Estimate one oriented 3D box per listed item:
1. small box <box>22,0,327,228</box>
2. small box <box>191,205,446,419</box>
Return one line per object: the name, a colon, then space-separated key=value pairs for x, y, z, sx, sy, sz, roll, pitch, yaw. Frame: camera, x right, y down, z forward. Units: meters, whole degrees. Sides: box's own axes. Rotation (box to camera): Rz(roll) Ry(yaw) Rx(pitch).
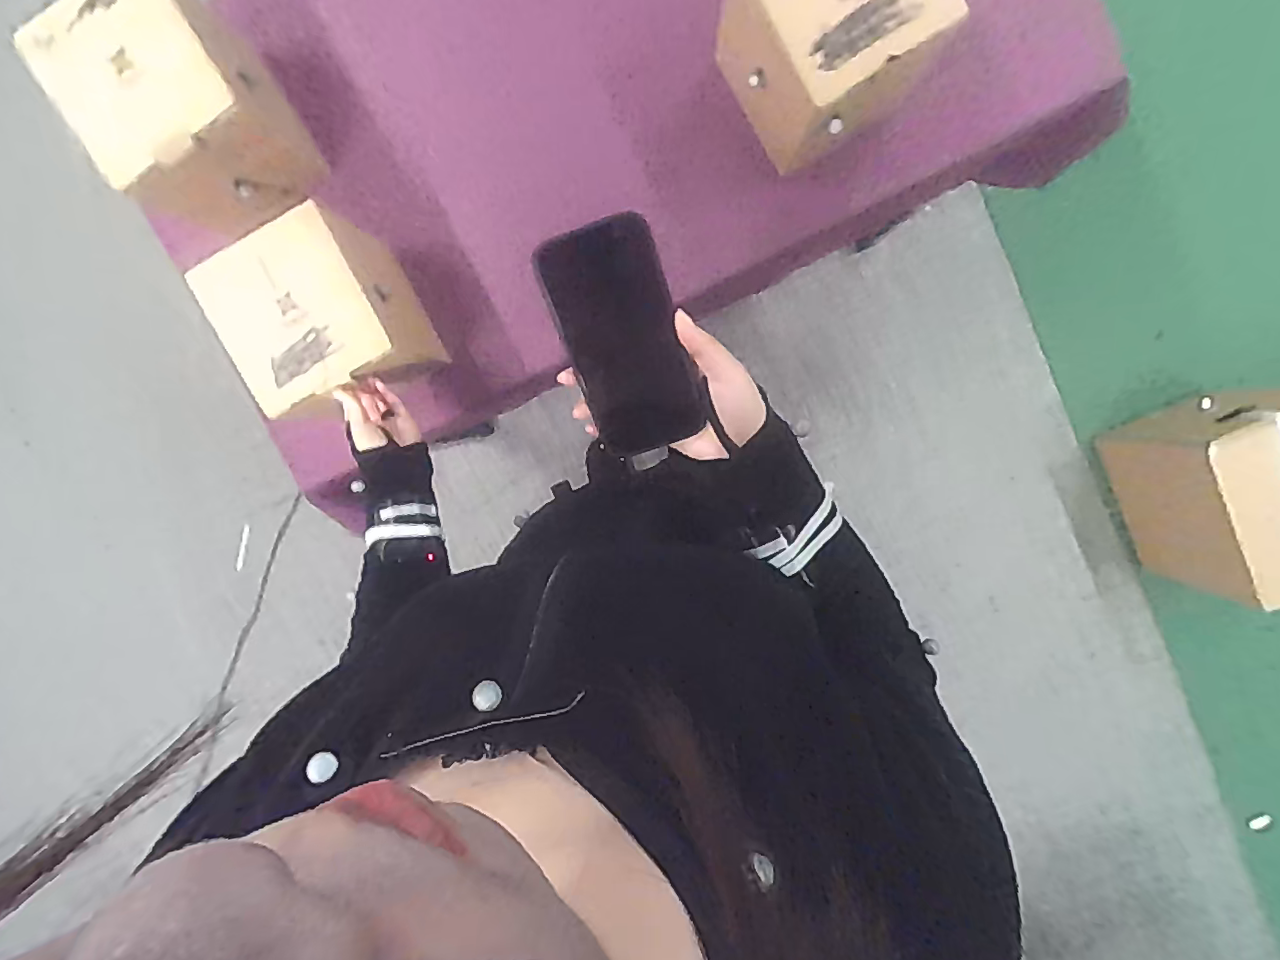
small box: x=-0.517 y=-0.424 z=0.634 sx=0.168 sy=0.176 sz=0.179 roll=-30 pitch=97 yaw=5
small box: x=-0.370 y=-0.189 z=0.660 sx=0.168 sy=0.176 sz=0.179 roll=-27 pitch=94 yaw=5
